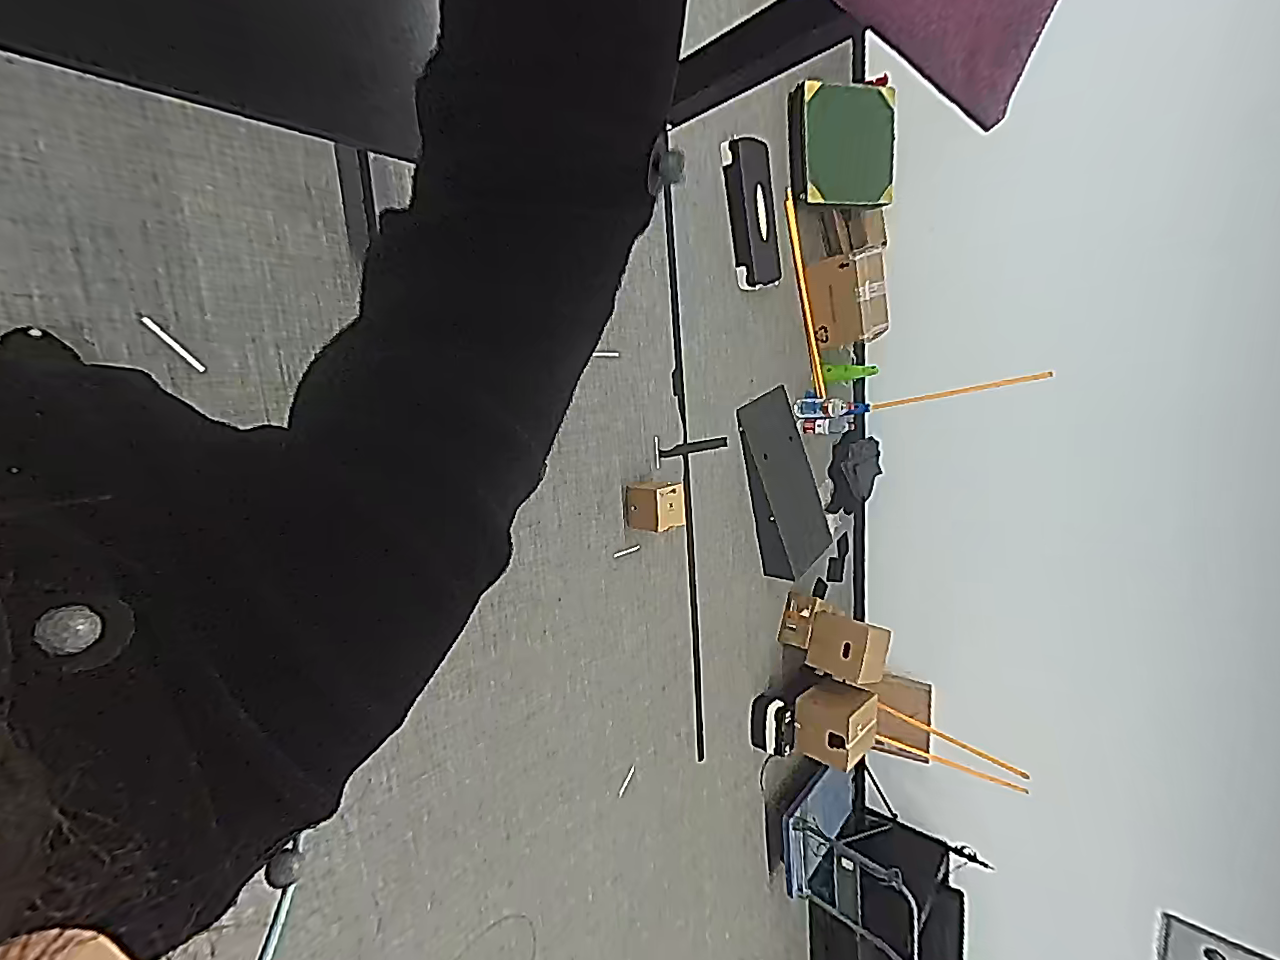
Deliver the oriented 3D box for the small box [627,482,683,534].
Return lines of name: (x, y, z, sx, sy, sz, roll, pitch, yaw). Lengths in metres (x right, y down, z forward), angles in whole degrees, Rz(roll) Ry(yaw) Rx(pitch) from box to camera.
small box: (0.061, 0.109, 2.211, 0.168, 0.176, 0.179, -12, 103, -46)
